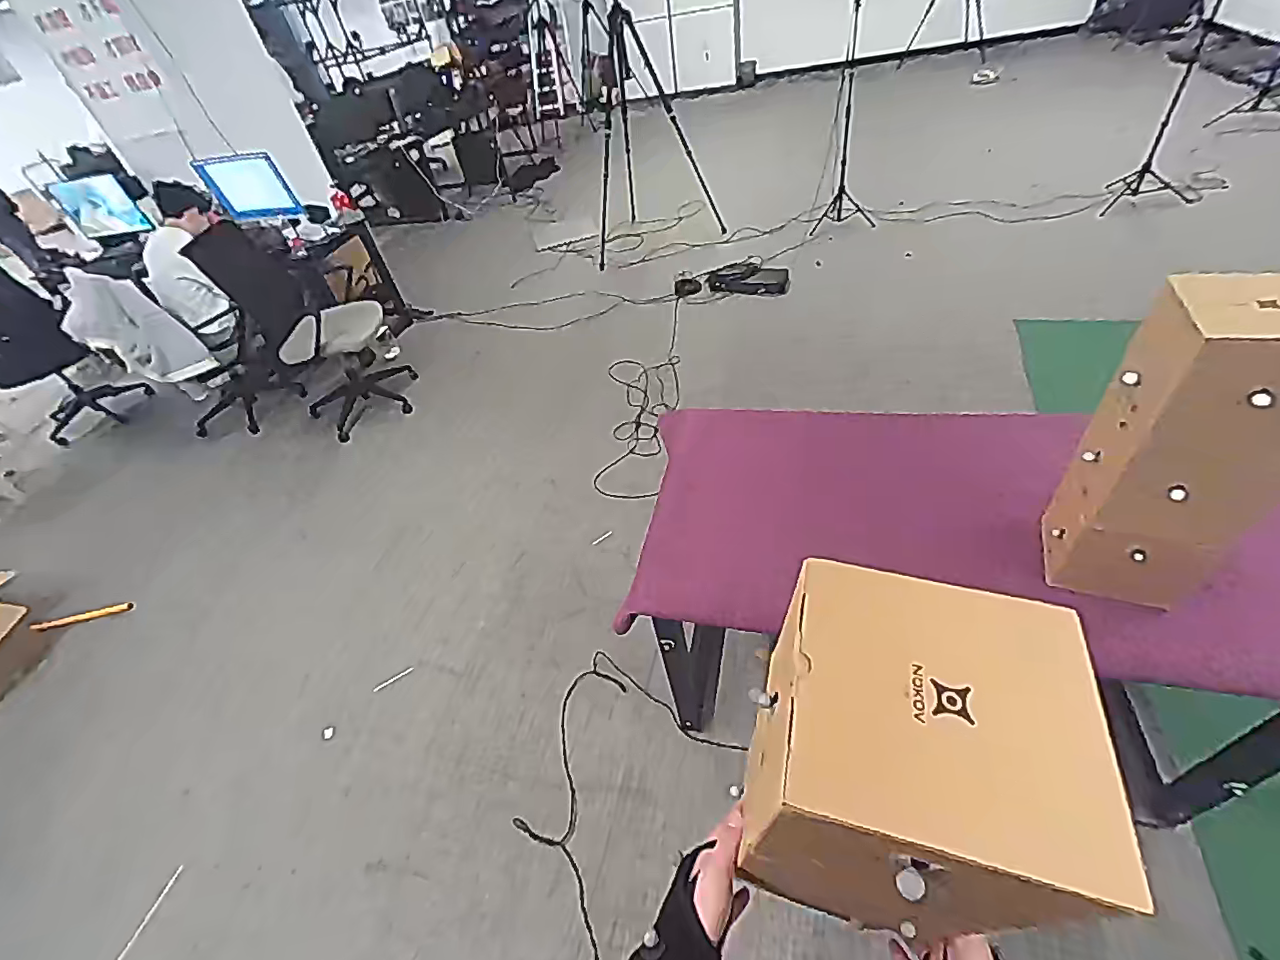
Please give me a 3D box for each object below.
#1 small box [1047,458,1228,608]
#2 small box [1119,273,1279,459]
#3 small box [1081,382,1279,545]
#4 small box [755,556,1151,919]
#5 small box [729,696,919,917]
[{"bbox_3d":[0.812,0.090,0.910,0.179,0.176,0.168,12,49,23],"label":"small box"},{"bbox_3d":[0.763,-0.143,0.684,0.179,0.176,0.168,8,47,21],"label":"small box"},{"bbox_3d":[0.787,-0.025,0.797,0.179,0.176,0.168,9,48,23],"label":"small box"},{"bbox_3d":[0.187,0.181,0.383,0.179,0.176,0.168,10,51,13],"label":"small box"},{"bbox_3d":[0.210,0.385,0.638,0.179,0.176,0.168,11,50,15],"label":"small box"}]
